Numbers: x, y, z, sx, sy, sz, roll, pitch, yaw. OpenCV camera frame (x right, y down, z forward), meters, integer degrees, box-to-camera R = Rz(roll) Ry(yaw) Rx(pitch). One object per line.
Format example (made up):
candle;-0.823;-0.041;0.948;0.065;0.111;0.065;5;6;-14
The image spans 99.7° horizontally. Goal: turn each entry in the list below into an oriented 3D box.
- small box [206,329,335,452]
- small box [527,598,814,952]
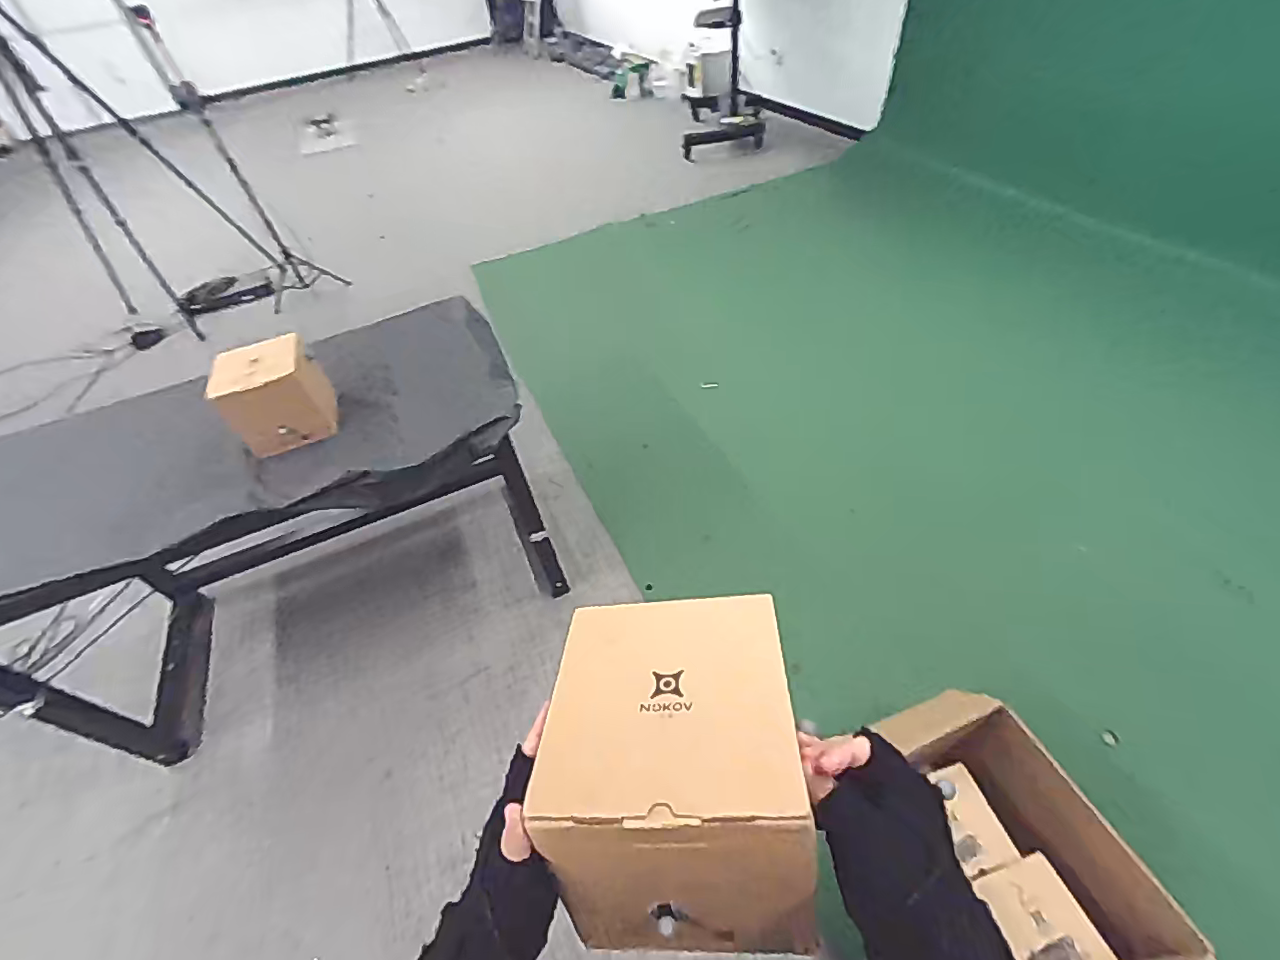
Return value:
small box;-0.777;-0.190;1.157;0.168;0.176;0.179;-21;49;-11
small box;0.031;0.215;0.414;0.168;0.176;0.179;-6;31;8
